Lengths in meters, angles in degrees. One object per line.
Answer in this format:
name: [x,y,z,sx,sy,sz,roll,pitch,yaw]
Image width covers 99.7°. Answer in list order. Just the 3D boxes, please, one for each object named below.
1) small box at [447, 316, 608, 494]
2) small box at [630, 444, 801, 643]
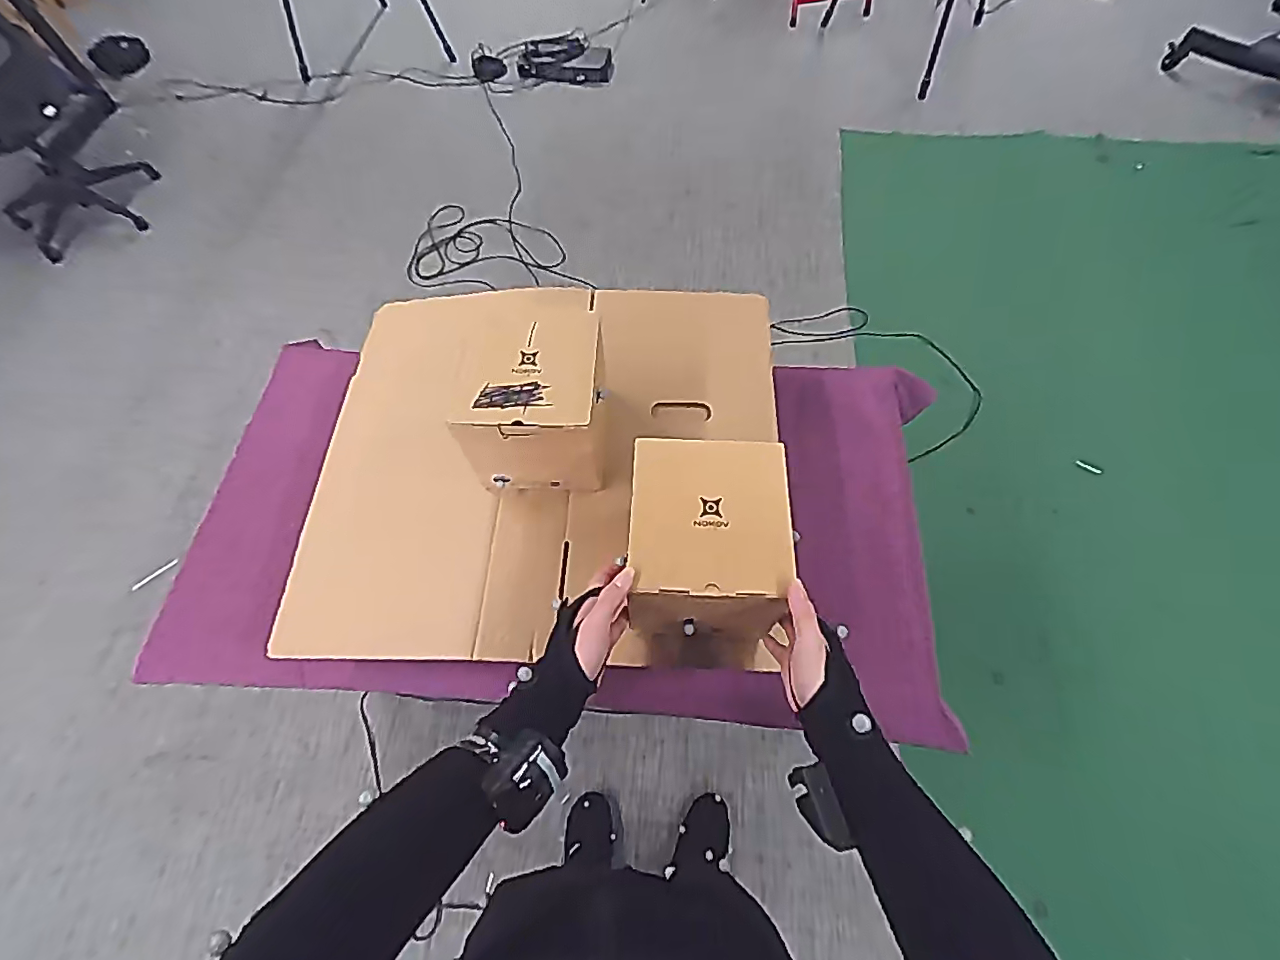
small box: [-0.132,-0.091,0.711,0.168,0.176,0.179,1,62,1]
small box: [0.075,0.078,0.622,0.168,0.176,0.179,2,62,1]
